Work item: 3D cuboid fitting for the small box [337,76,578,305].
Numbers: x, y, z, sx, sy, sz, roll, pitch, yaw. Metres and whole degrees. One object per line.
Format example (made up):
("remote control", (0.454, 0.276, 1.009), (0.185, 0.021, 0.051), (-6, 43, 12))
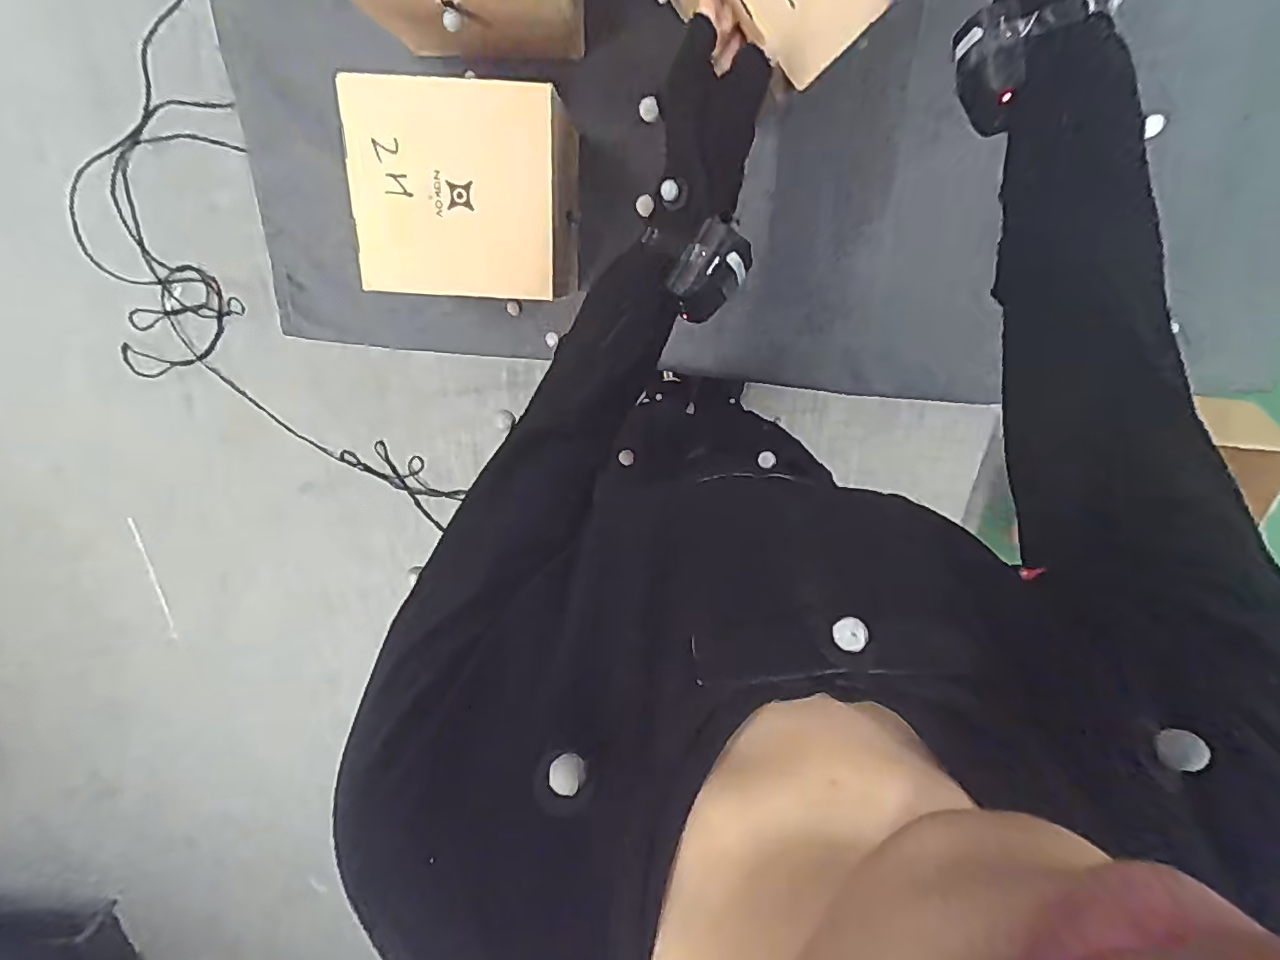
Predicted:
("small box", (-0.156, -0.268, 0.530), (0.179, 0.176, 0.168), (3, 111, 1))
